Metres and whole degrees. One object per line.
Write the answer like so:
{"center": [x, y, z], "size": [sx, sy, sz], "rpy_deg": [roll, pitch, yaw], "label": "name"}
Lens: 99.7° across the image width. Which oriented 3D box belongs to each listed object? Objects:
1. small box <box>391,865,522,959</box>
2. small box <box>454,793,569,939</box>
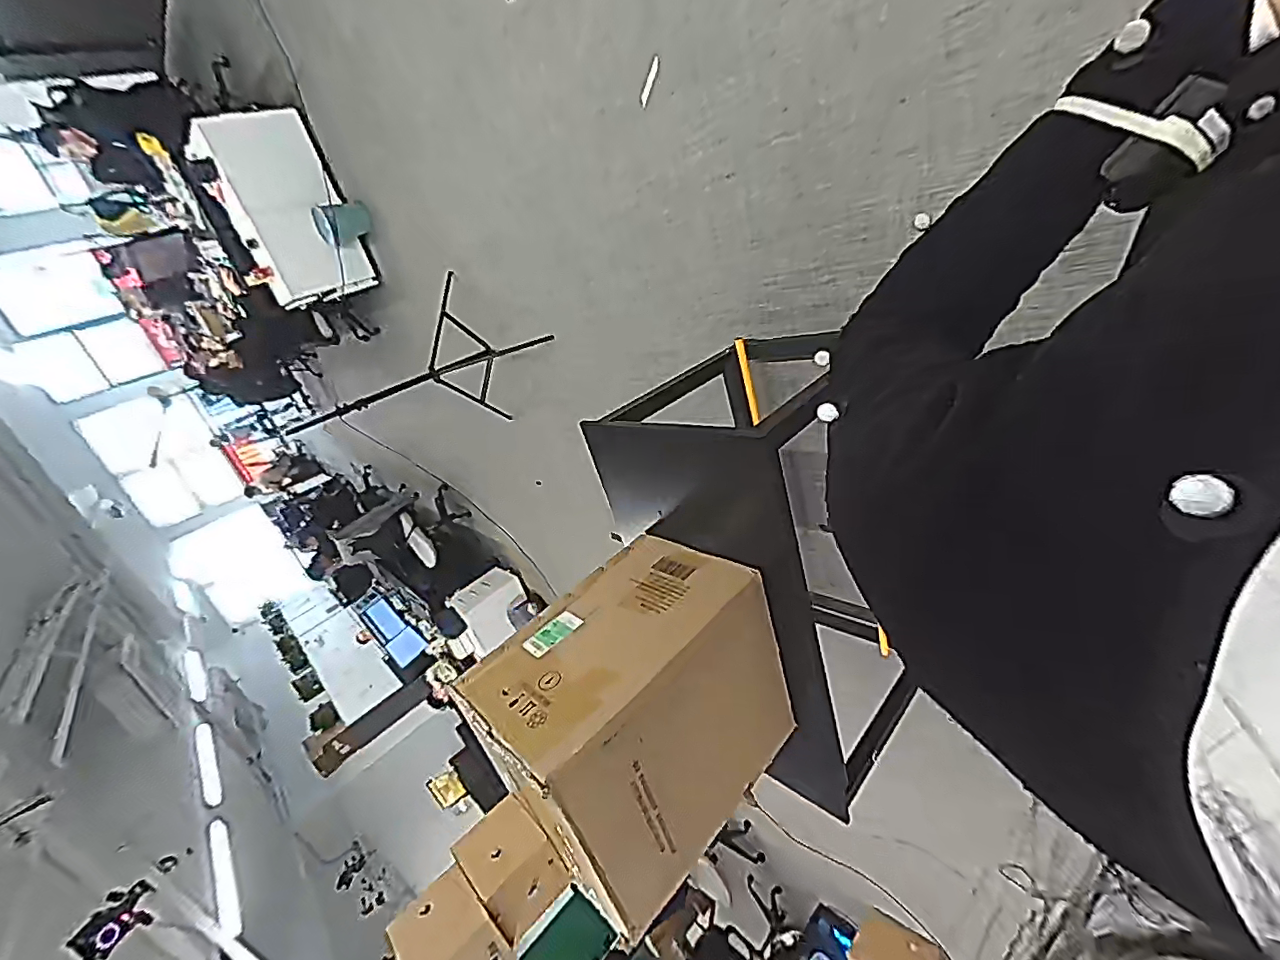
{"center": [-0.372, 0.941, 1.107], "size": [0.179, 0.176, 0.168], "rpy_deg": [8, 126, 49], "label": "small box"}
{"center": [-0.280, 0.855, 1.217], "size": [0.179, 0.176, 0.168], "rpy_deg": [12, 127, 48], "label": "small box"}
